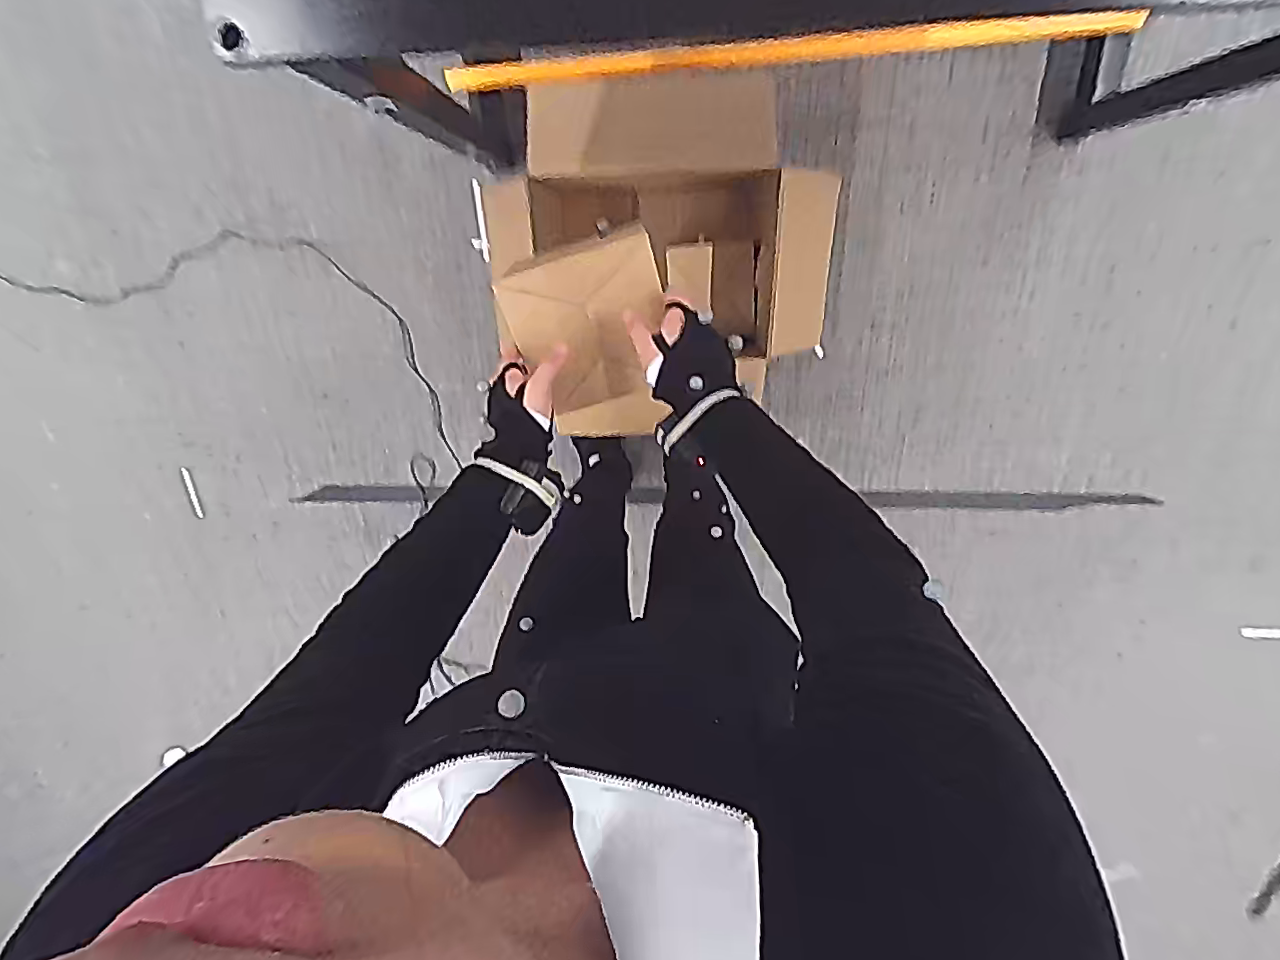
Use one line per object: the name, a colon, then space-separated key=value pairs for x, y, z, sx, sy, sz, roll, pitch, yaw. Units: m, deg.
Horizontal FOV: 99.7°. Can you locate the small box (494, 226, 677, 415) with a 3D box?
small box: x=-0.058 y=-0.199 z=0.673 sx=0.179 sy=0.176 sz=0.168 roll=-15 pitch=118 yaw=5
